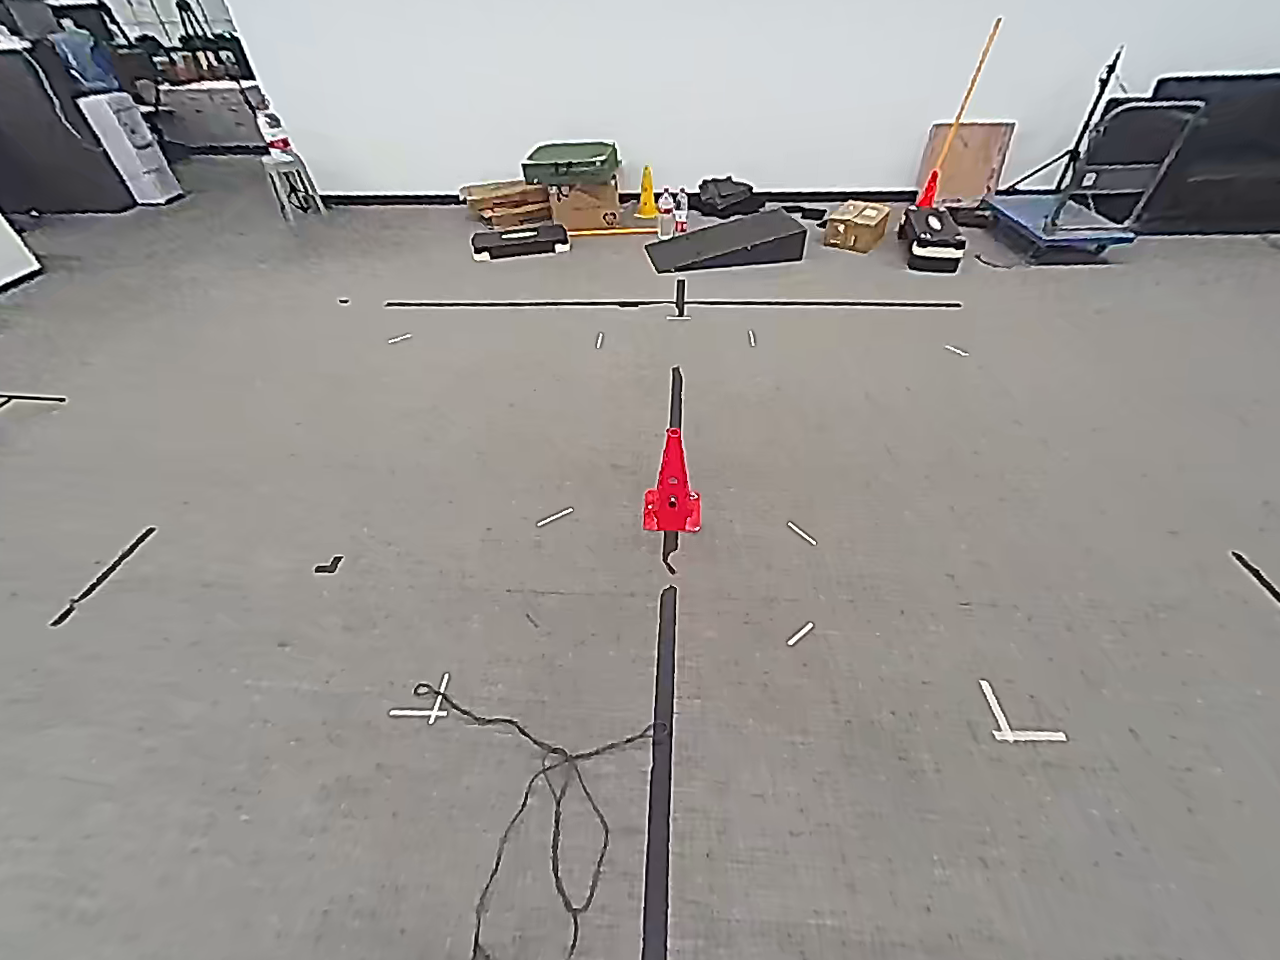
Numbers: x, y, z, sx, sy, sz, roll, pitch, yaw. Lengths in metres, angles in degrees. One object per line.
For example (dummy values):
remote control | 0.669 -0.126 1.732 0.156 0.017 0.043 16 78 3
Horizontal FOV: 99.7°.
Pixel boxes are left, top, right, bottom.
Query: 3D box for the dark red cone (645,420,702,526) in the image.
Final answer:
dark red cone | 0.112 -0.034 1.799 0.201 0.394 0.202 1 43 4
